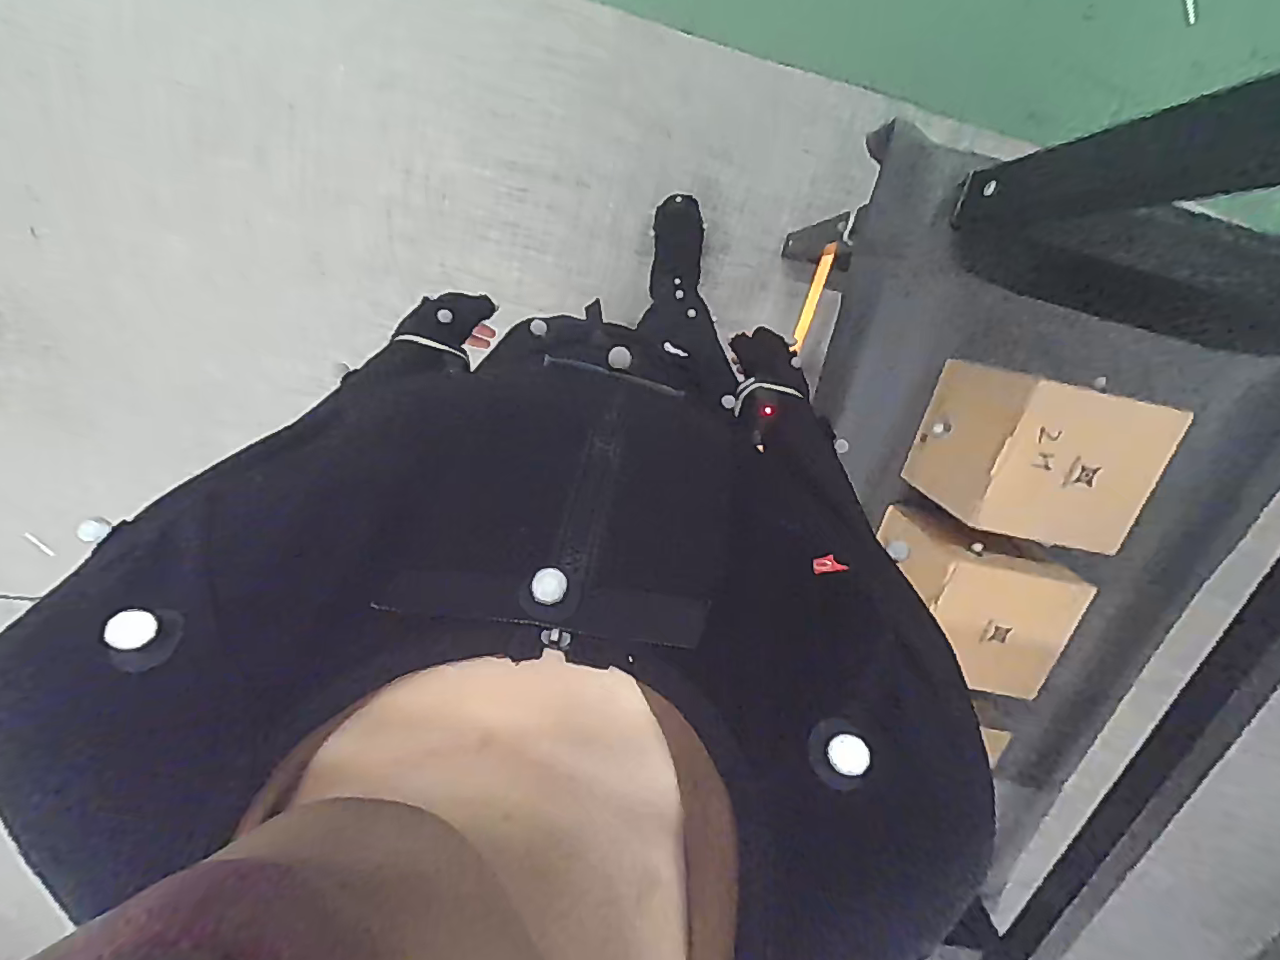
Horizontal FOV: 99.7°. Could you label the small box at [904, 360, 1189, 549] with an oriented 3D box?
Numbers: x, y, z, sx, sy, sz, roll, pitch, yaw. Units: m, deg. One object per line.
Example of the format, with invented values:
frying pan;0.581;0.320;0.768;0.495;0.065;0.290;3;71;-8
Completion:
small box;0.458;-0.040;0.644;0.179;0.176;0.168;11;109;-4
